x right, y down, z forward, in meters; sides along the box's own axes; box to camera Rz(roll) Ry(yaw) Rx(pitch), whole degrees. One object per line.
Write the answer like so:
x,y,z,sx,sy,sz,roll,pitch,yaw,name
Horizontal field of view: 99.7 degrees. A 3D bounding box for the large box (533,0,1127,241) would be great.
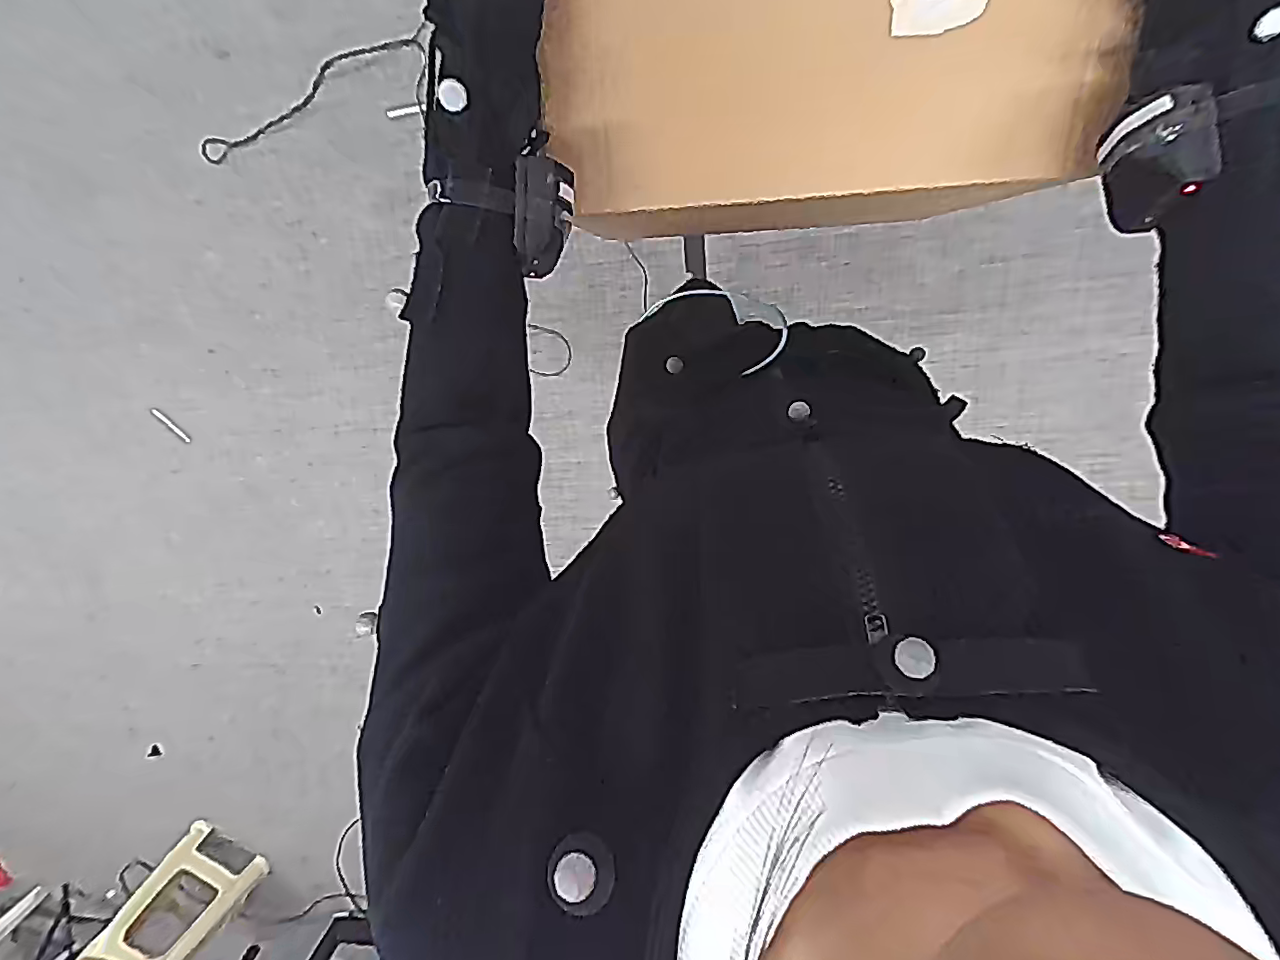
0.126,-0.413,0.492,0.408,0.320,0.320,-3,111,4,large box
